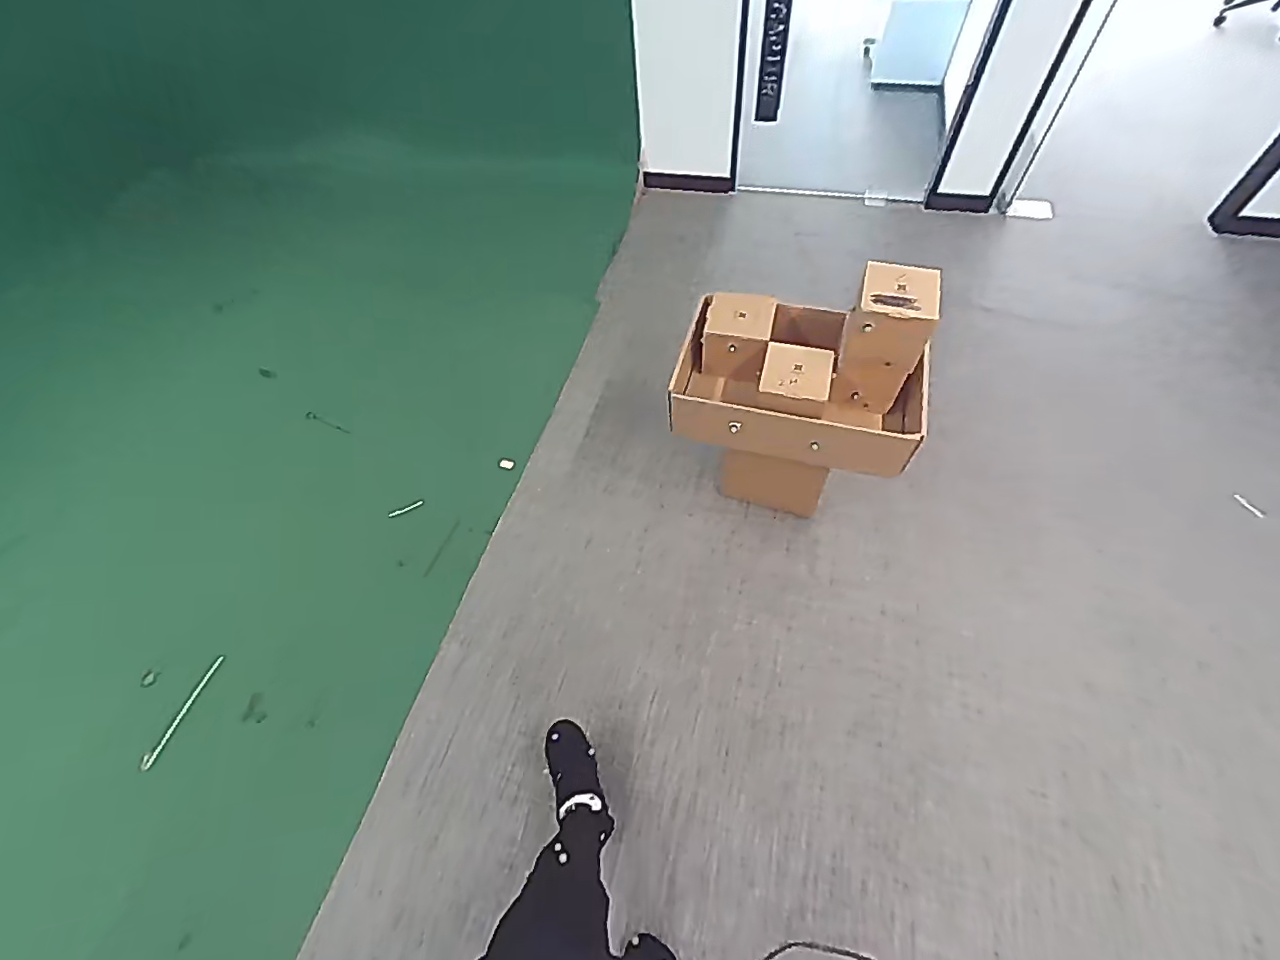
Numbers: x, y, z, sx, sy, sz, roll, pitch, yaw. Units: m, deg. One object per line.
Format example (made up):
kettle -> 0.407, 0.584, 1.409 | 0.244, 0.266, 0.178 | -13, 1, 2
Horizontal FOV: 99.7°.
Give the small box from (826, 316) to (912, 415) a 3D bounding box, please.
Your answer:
small box -> 0.603, -0.302, 1.434 | 0.168, 0.176, 0.179 | 13, 60, 12
